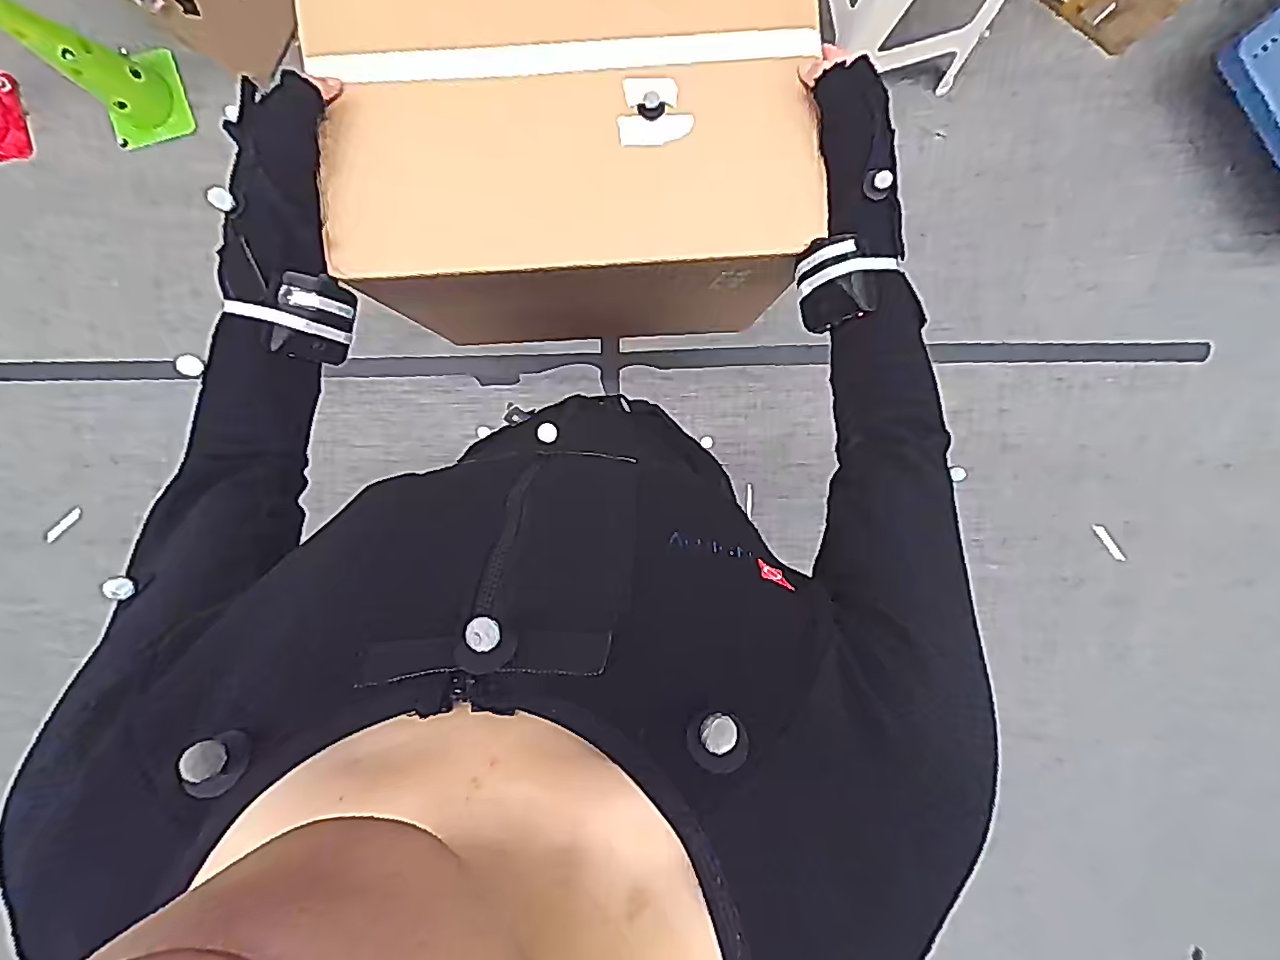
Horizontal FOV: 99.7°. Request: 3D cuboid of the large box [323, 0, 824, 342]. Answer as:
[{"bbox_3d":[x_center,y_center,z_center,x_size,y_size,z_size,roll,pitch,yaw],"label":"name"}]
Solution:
[{"bbox_3d":[-0.058,-0.347,0.588,0.408,0.320,0.320,-3,94,-1],"label":"large box"}]
